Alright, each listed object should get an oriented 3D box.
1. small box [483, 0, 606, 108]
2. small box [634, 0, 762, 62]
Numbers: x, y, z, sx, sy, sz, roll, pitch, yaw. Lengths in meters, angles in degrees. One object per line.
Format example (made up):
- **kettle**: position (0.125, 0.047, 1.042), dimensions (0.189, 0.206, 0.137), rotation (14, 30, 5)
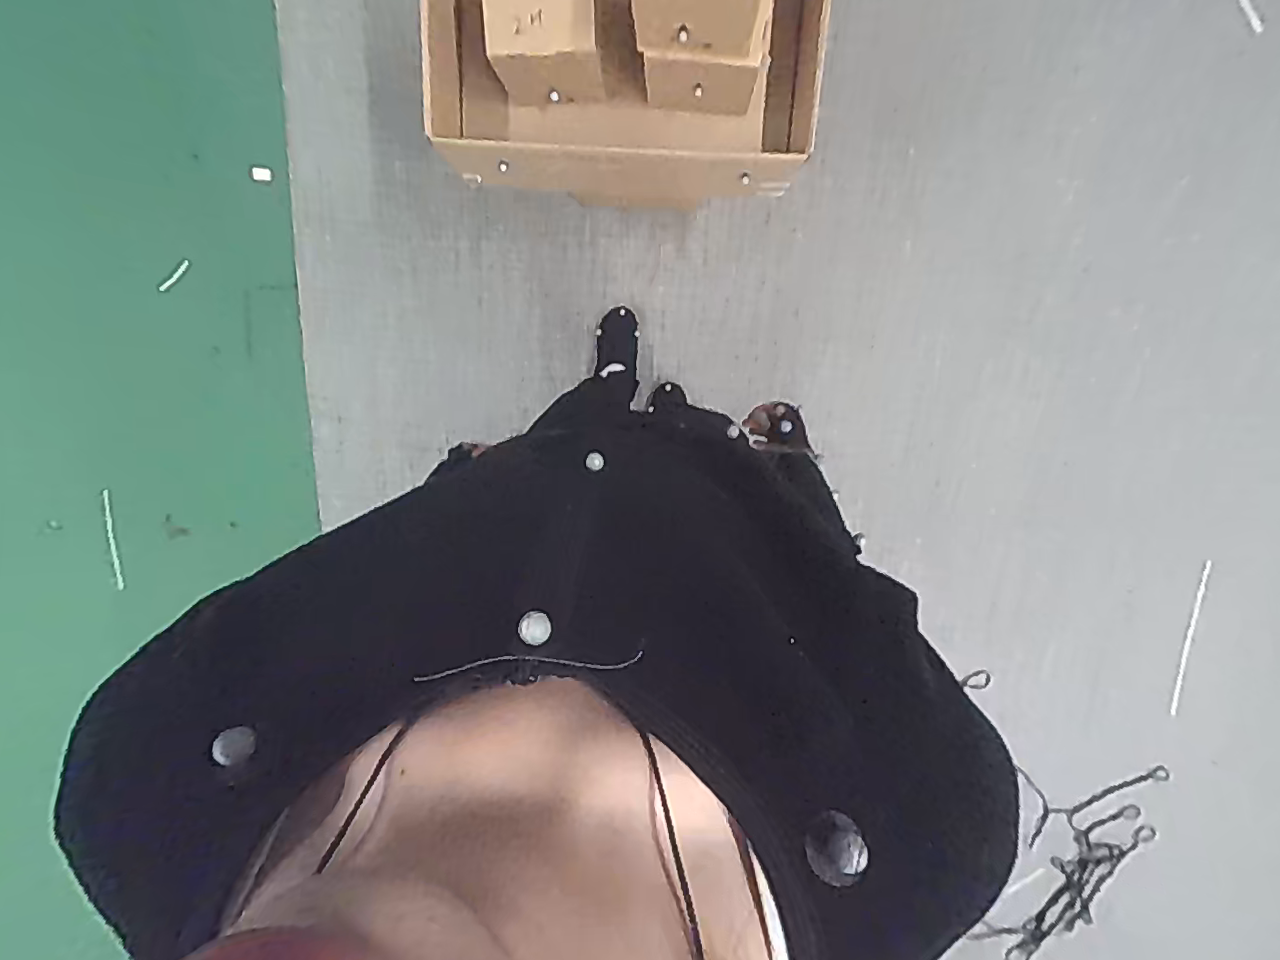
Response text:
- **small box**: position (-0.145, -0.728, 0.860), dimensions (0.168, 0.176, 0.179), rotation (0, 102, 2)
- **small box**: position (0.080, -0.688, 0.694), dimensions (0.168, 0.176, 0.179), rotation (6, 102, 2)
